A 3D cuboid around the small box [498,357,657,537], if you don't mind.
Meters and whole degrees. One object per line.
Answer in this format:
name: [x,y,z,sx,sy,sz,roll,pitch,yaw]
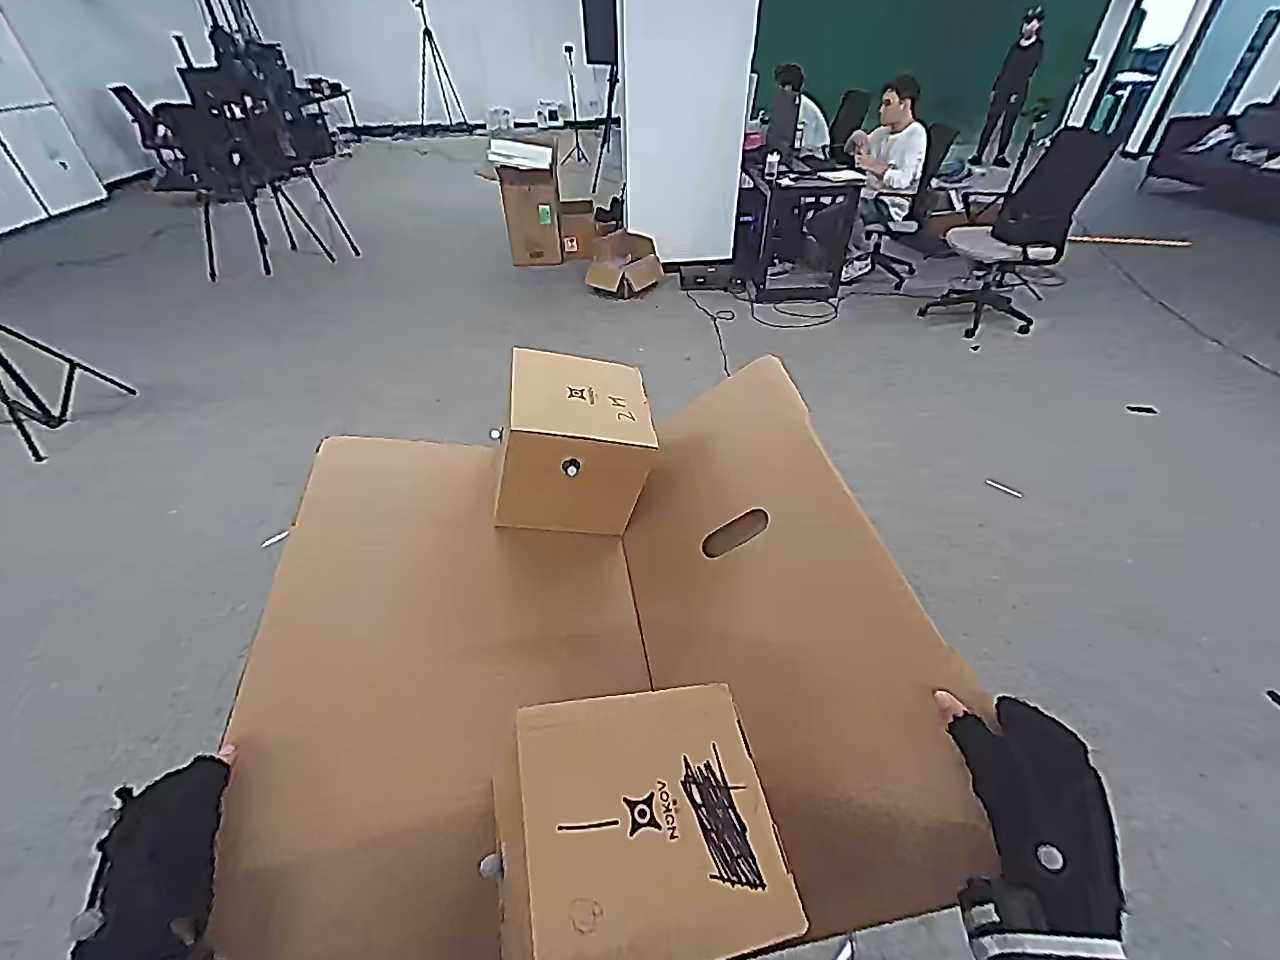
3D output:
small box: [-0.092,-0.039,0.729,0.179,0.176,0.168,7,44,-17]
